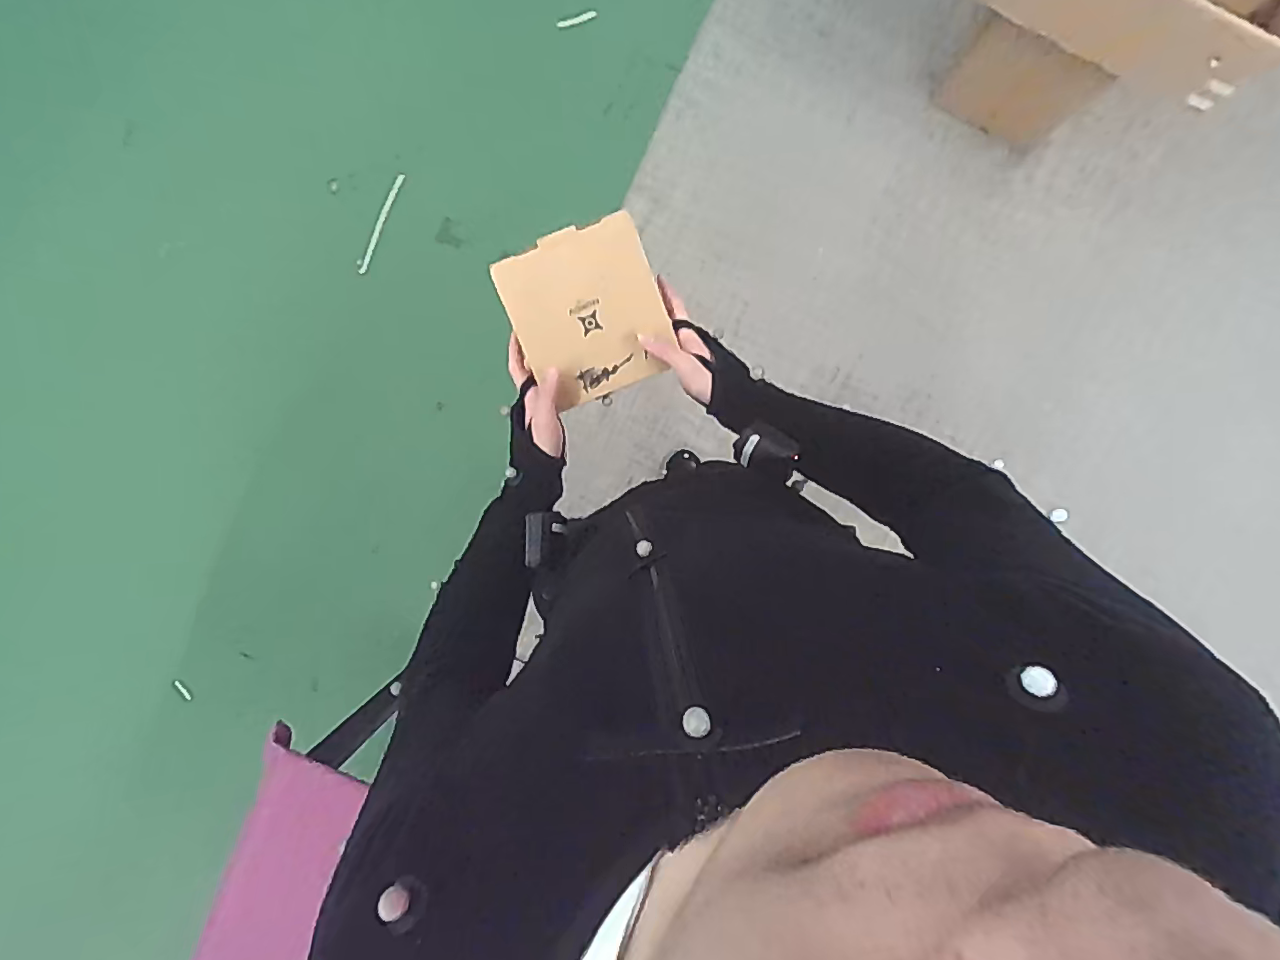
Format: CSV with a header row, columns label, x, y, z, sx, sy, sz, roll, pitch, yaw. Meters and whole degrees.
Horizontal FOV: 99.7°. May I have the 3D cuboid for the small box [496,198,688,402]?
label,x,y,z,sx,sy,sz,roll,pitch,yaw
small box,-0.052,-0.205,0.661,0.168,0.176,0.179,-20,101,4
